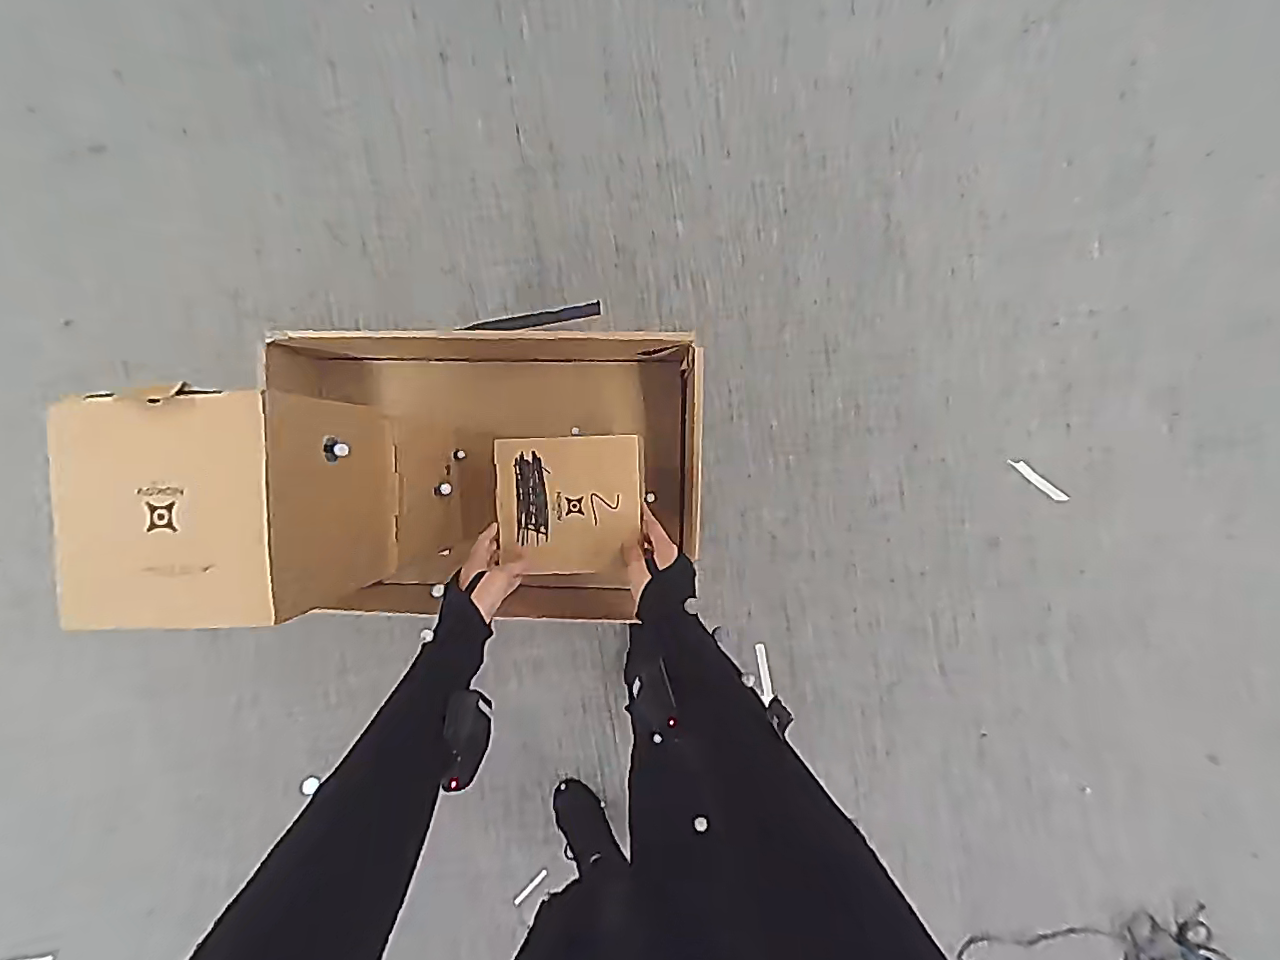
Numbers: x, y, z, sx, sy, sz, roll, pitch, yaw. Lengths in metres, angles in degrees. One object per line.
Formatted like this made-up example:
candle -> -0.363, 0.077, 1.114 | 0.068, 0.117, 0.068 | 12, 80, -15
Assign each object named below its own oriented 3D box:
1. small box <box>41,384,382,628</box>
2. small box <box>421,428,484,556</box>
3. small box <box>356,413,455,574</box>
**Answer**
small box -> -0.344, 0.018, 0.468 | 0.168, 0.176, 0.179 | -1, 92, 2
small box -> -0.334, 0.011, 0.796 | 0.168, 0.176, 0.179 | -1, 92, 1
small box -> -0.334, 0.010, 0.631 | 0.179, 0.176, 0.168 | 1, 93, 1
